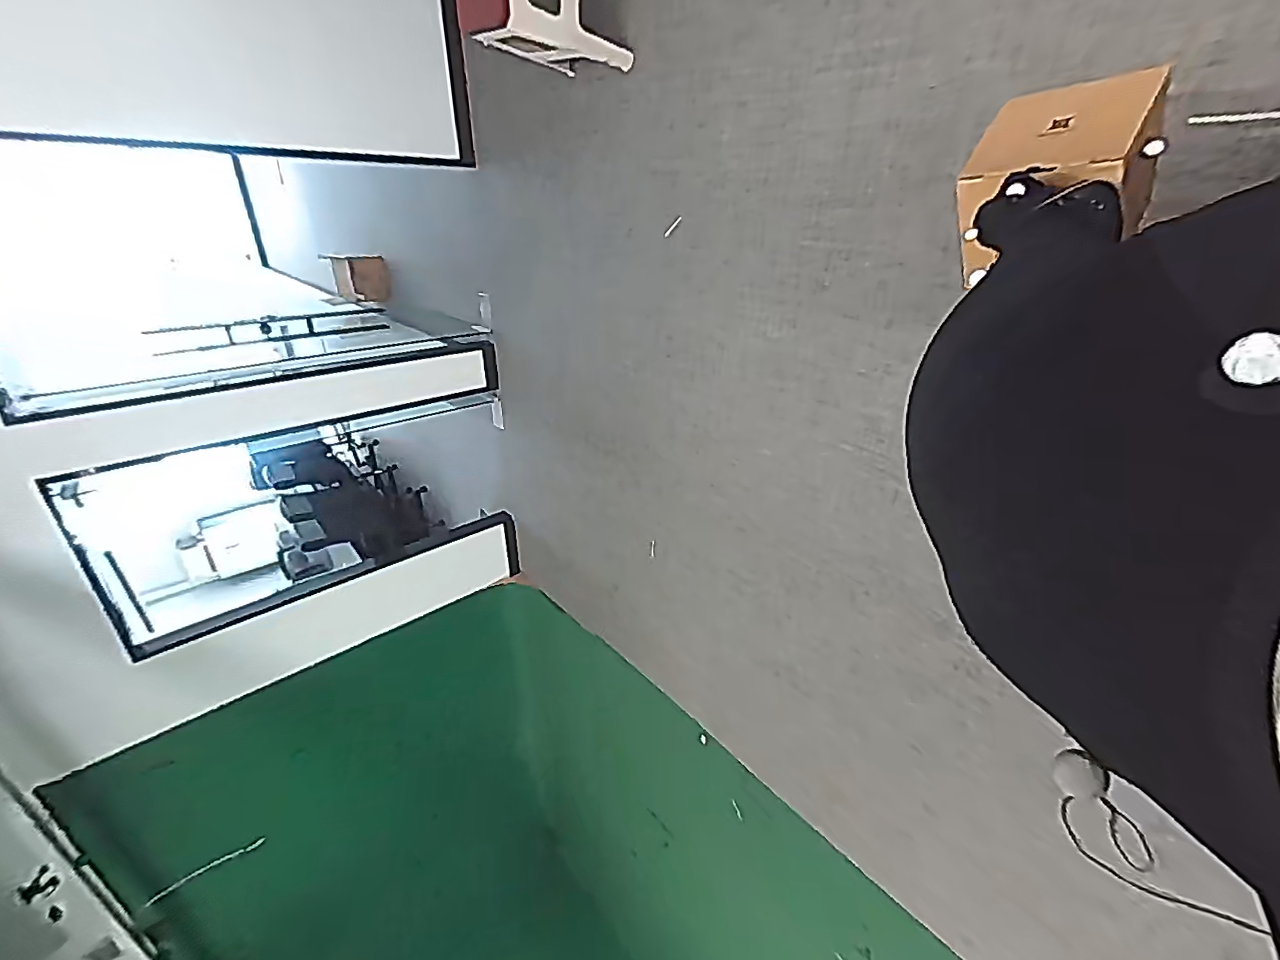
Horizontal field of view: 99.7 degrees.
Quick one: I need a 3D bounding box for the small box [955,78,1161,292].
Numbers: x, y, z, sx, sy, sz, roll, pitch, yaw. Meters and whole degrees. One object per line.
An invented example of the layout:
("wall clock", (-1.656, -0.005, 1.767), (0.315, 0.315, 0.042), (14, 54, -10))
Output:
("small box", (0.539, -0.373, 0.711), (0.168, 0.179, 0.176), (19, 157, 44))
